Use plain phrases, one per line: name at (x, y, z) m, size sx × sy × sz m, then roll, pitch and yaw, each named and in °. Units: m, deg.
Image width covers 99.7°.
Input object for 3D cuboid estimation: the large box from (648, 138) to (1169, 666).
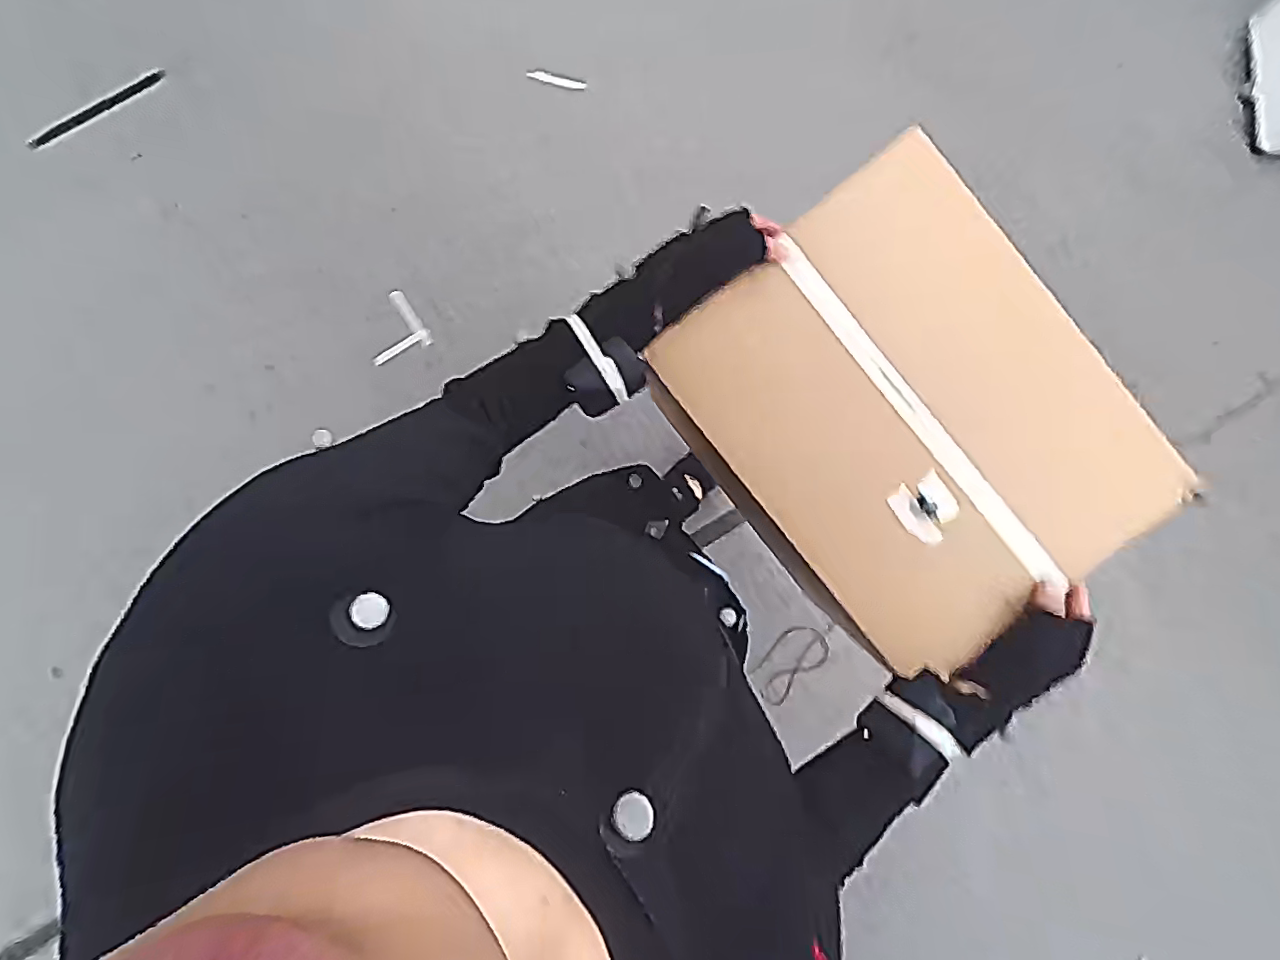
large box at (0.250, -0.075, 0.648) m, size 0.320 × 0.320 × 0.408 m, roll -39°, pitch 92°, yaw 3°
